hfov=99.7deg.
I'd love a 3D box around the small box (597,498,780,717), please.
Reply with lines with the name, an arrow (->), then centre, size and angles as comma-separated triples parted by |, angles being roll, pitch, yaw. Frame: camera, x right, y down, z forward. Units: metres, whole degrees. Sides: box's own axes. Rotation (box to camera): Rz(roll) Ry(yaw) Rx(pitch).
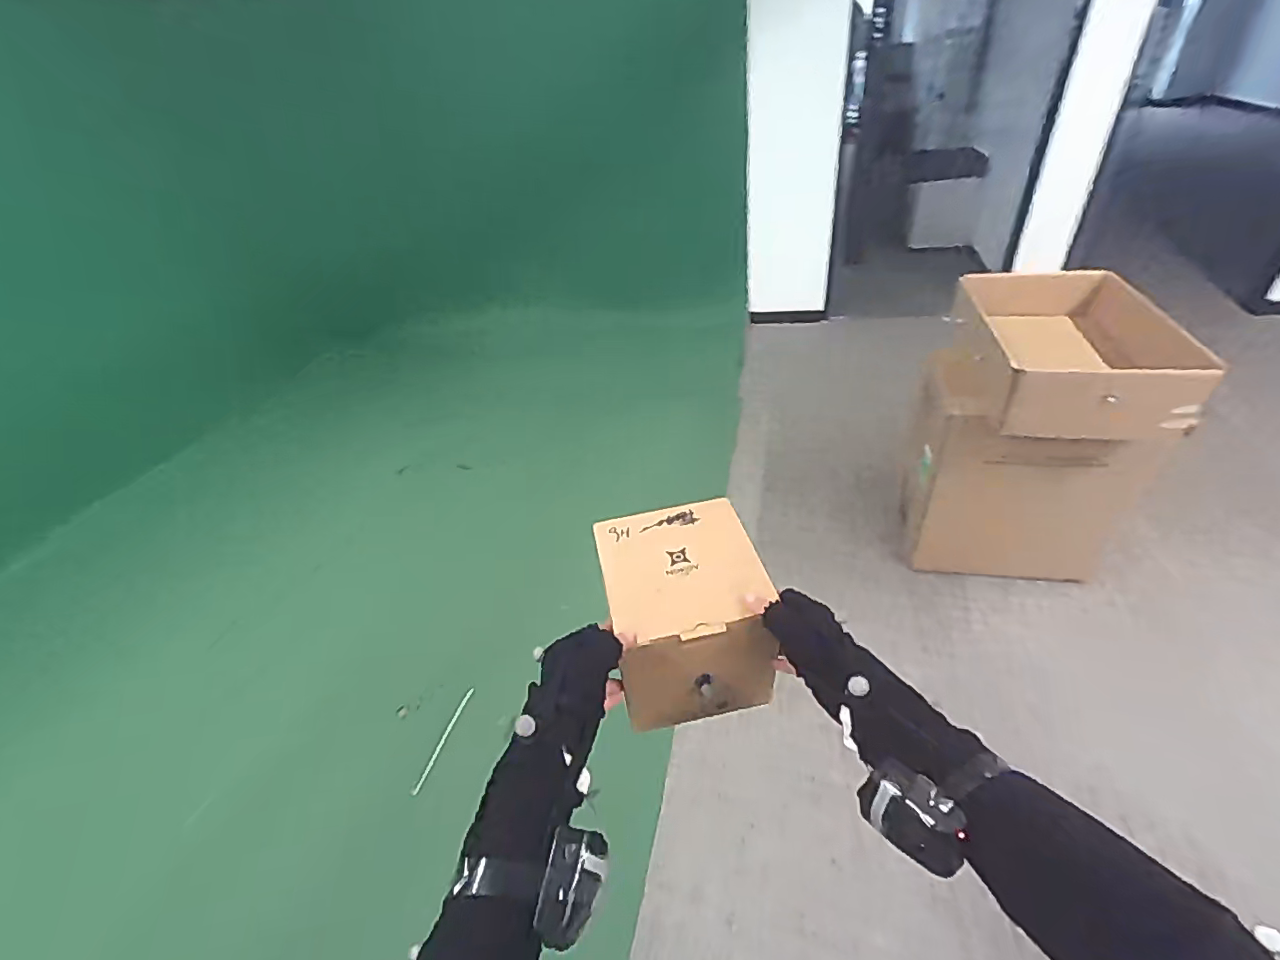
small box -> 0.048, 0.150, 0.621 | 0.168, 0.176, 0.179 | -9, 40, -5
